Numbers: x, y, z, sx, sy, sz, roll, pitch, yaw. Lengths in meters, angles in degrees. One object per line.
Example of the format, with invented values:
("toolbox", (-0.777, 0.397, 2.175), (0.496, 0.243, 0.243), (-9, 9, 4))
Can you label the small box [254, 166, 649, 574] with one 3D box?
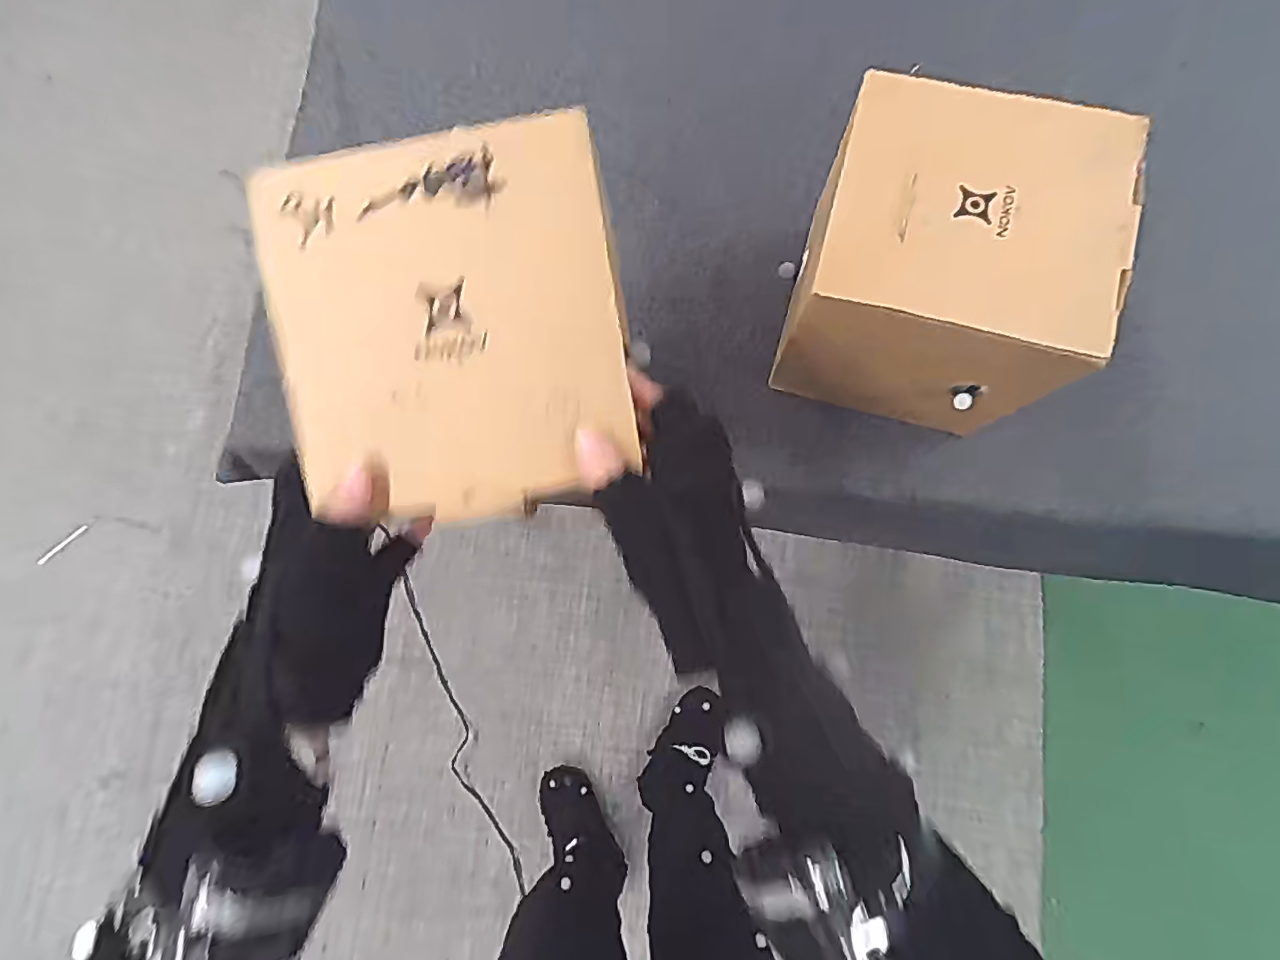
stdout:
("small box", (-0.087, -0.056, 0.340), (0.168, 0.176, 0.179), (-9, 95, 3))
